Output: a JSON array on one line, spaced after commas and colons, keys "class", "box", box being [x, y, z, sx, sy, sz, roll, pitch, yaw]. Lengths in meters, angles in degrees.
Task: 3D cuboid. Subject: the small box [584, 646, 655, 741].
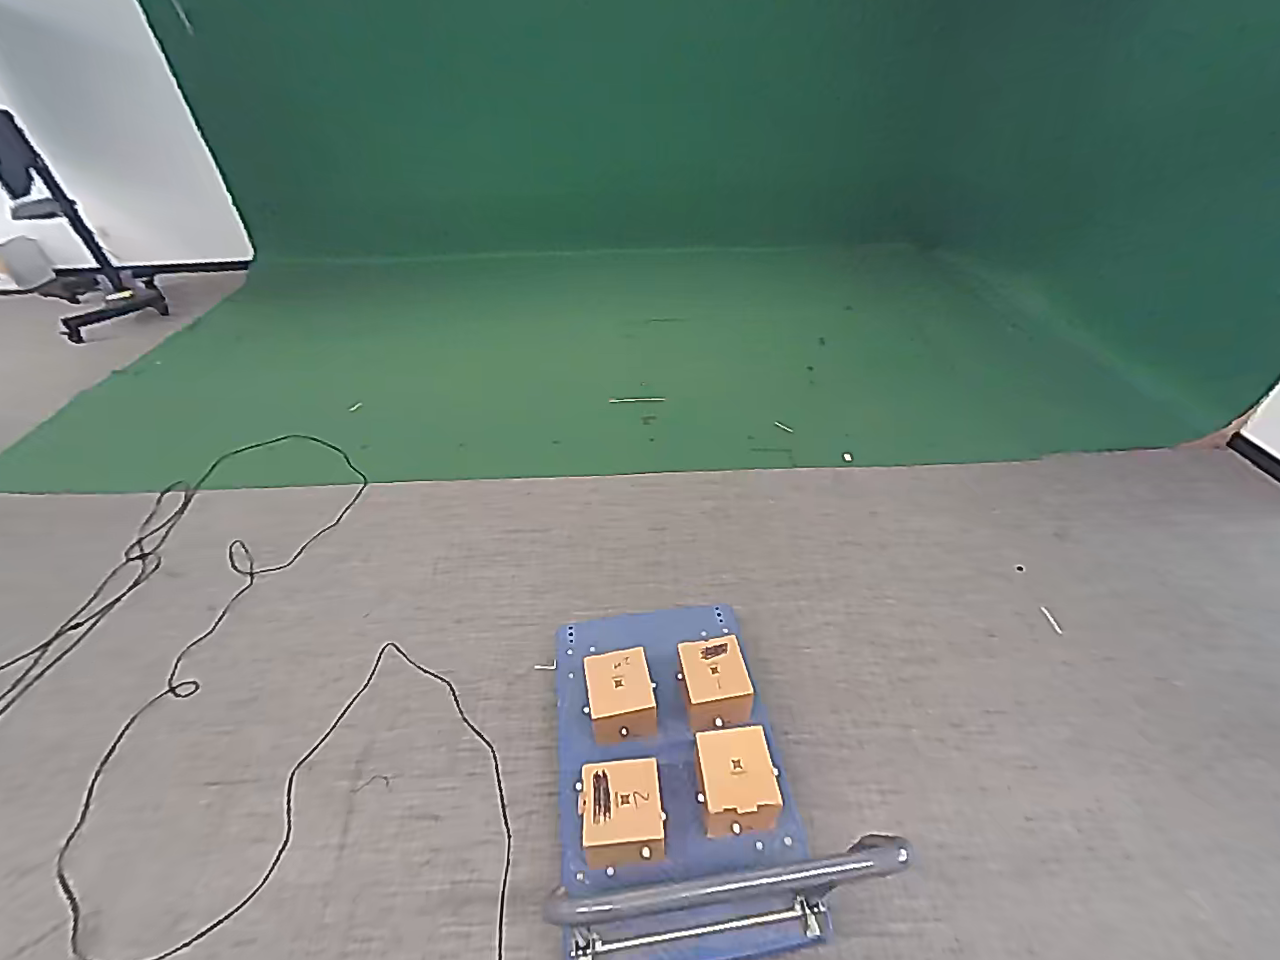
[{"class": "small box", "box": [-0.055, 0.581, 1.457, 0.168, 0.176, 0.179, -8, 42, -8]}]

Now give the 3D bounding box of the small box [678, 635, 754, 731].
[{"class": "small box", "box": [0.199, 0.554, 1.478, 0.168, 0.176, 0.179, -8, 42, -6]}]

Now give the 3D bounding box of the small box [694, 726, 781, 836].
[{"class": "small box", "box": [0.224, 0.720, 1.294, 0.168, 0.176, 0.179, -5, 40, -3]}]
